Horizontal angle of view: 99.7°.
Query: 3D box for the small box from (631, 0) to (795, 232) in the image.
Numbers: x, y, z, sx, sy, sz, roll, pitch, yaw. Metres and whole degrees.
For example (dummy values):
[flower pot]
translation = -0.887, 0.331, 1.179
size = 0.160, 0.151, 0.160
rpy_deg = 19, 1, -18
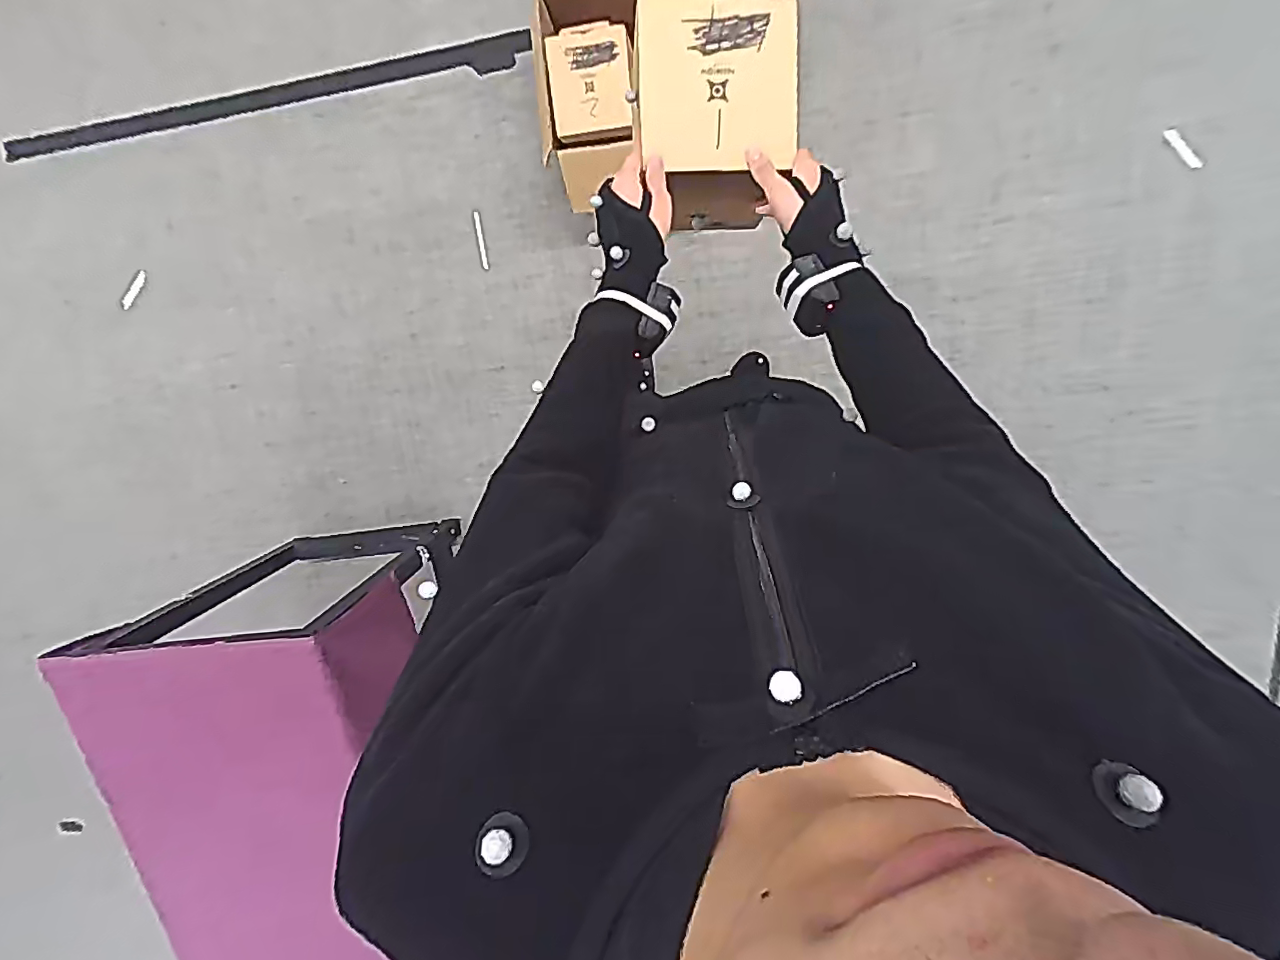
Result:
[small box]
translation = 0.076, -0.417, 0.643
size = 0.168, 0.176, 0.179
rpy_deg = -2, 95, -3
